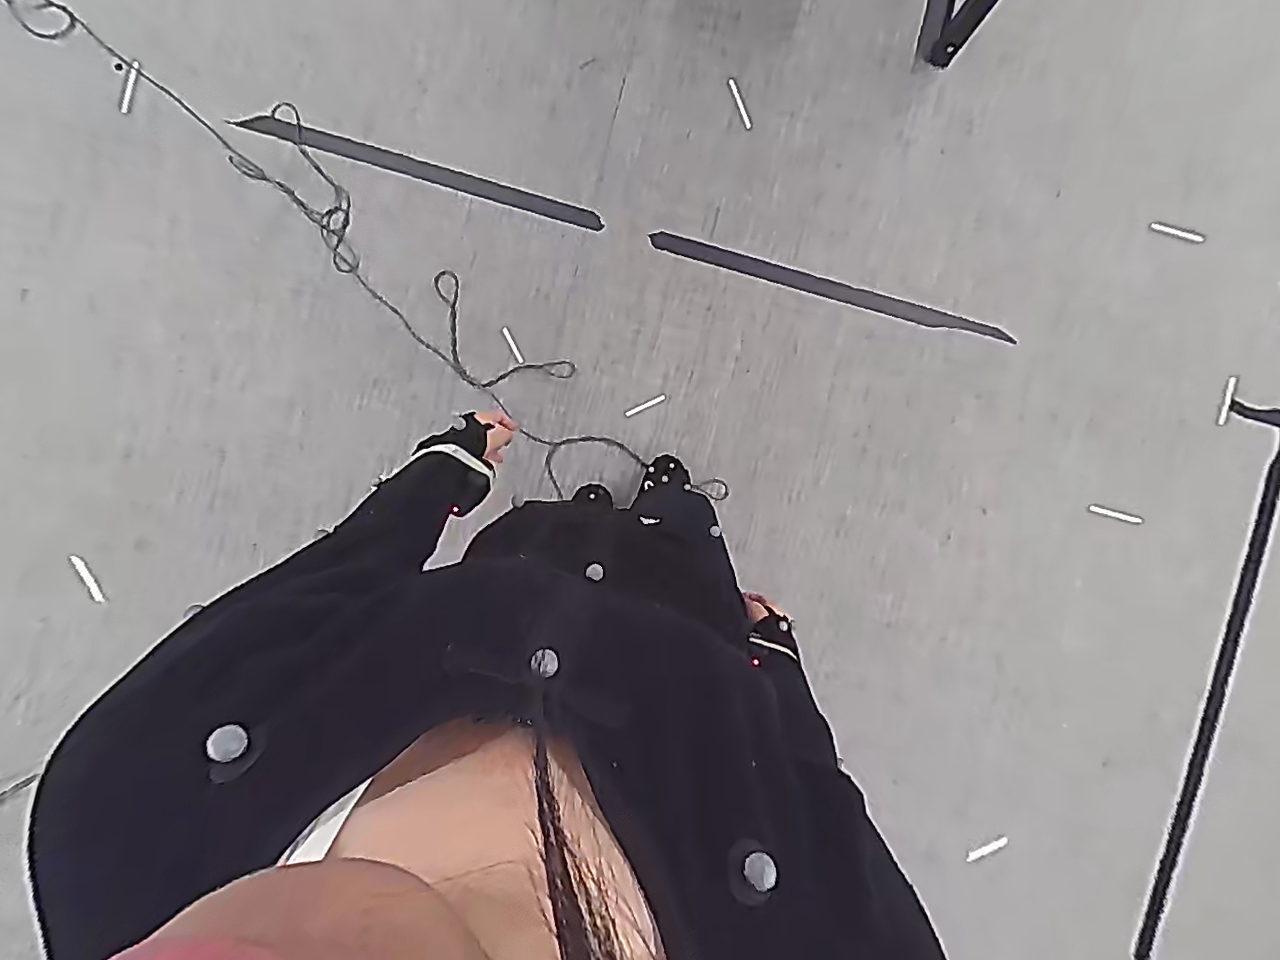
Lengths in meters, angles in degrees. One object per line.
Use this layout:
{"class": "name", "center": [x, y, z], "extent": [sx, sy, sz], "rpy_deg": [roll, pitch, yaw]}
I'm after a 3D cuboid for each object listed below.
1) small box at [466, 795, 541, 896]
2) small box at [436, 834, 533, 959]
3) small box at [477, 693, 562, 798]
{"class": "small box", "center": [-0.358, 0.956, 1.407], "extent": [0.168, 0.176, 0.179], "rpy_deg": [8, 90, -2]}
{"class": "small box", "center": [-0.349, 0.962, 1.243], "extent": [0.168, 0.176, 0.179], "rpy_deg": [10, 91, -3]}
{"class": "small box", "center": [-0.304, 0.679, 1.404], "extent": [0.168, 0.176, 0.179], "rpy_deg": [12, 92, -1]}
